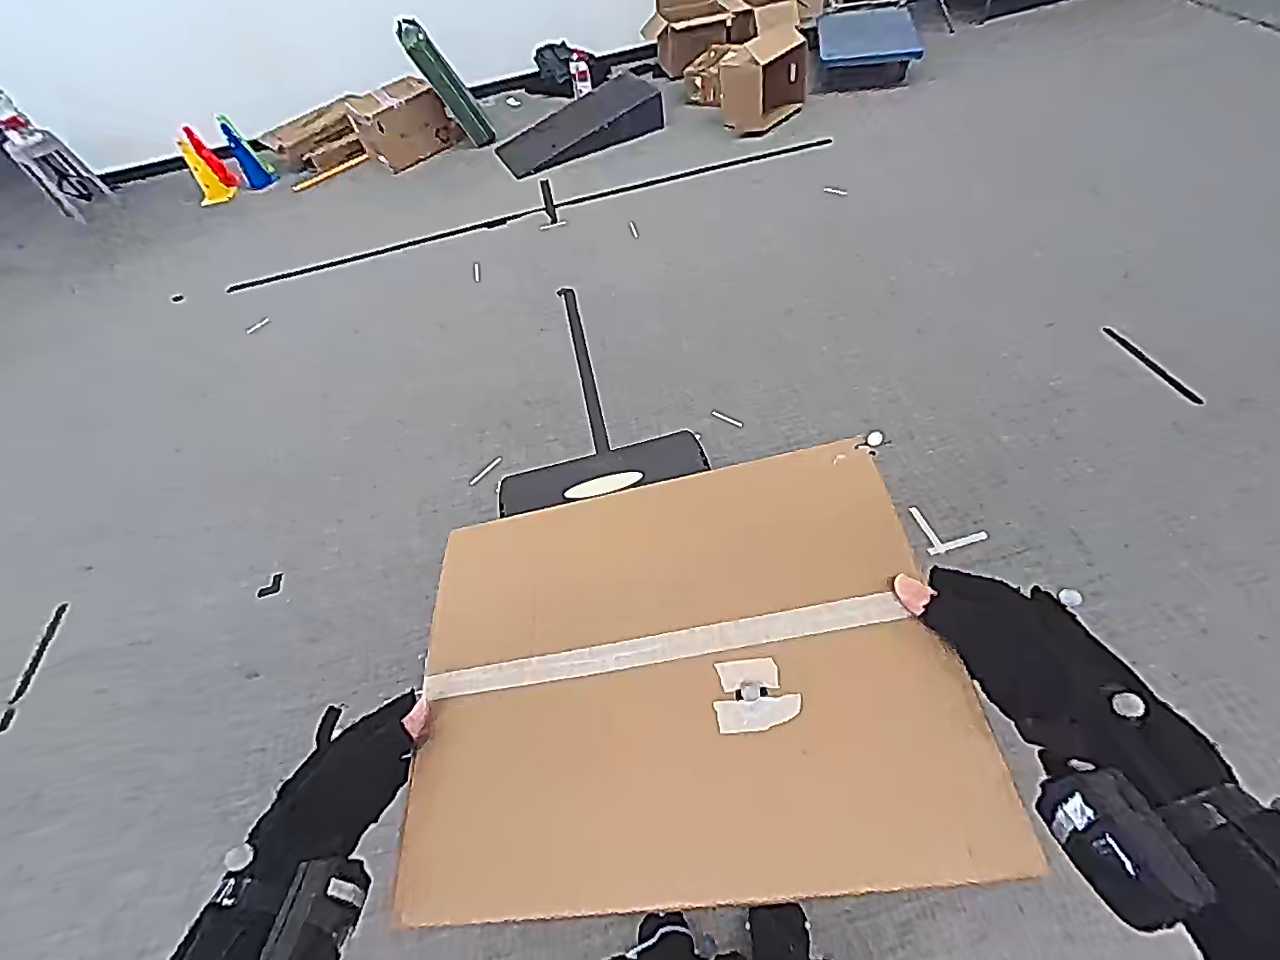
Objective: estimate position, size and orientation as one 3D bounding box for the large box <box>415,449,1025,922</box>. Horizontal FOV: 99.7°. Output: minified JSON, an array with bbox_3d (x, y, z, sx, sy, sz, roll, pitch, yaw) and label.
[{"bbox_3d":[0.059,0.221,0.546,0.408,0.320,0.320,-13,53,9],"label":"large box"}]
